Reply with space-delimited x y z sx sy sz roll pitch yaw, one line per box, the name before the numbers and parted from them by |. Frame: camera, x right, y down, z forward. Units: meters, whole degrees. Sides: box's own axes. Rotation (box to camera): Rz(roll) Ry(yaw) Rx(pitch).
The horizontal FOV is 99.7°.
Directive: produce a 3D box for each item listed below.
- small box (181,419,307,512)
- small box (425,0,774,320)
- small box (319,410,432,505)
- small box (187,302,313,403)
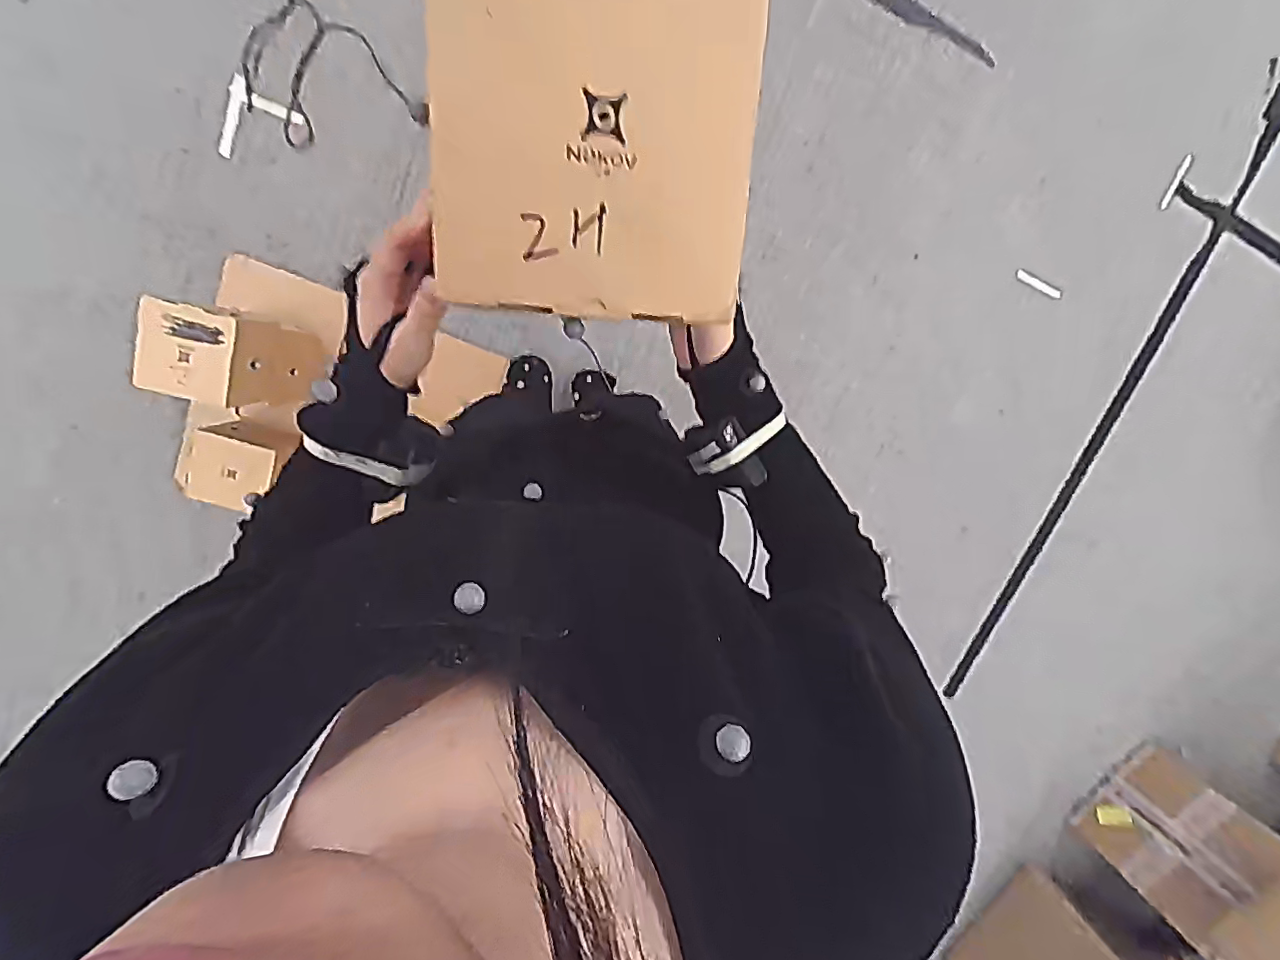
small box | -0.942 -0.042 1.296 0.179 0.176 0.168 15 103 -11
small box | -0.035 -0.198 0.339 0.168 0.176 0.179 1 106 -12
small box | -0.638 -0.063 1.324 0.179 0.176 0.168 24 99 -13
small box | -0.885 -0.290 1.244 0.168 0.176 0.179 16 101 -10
